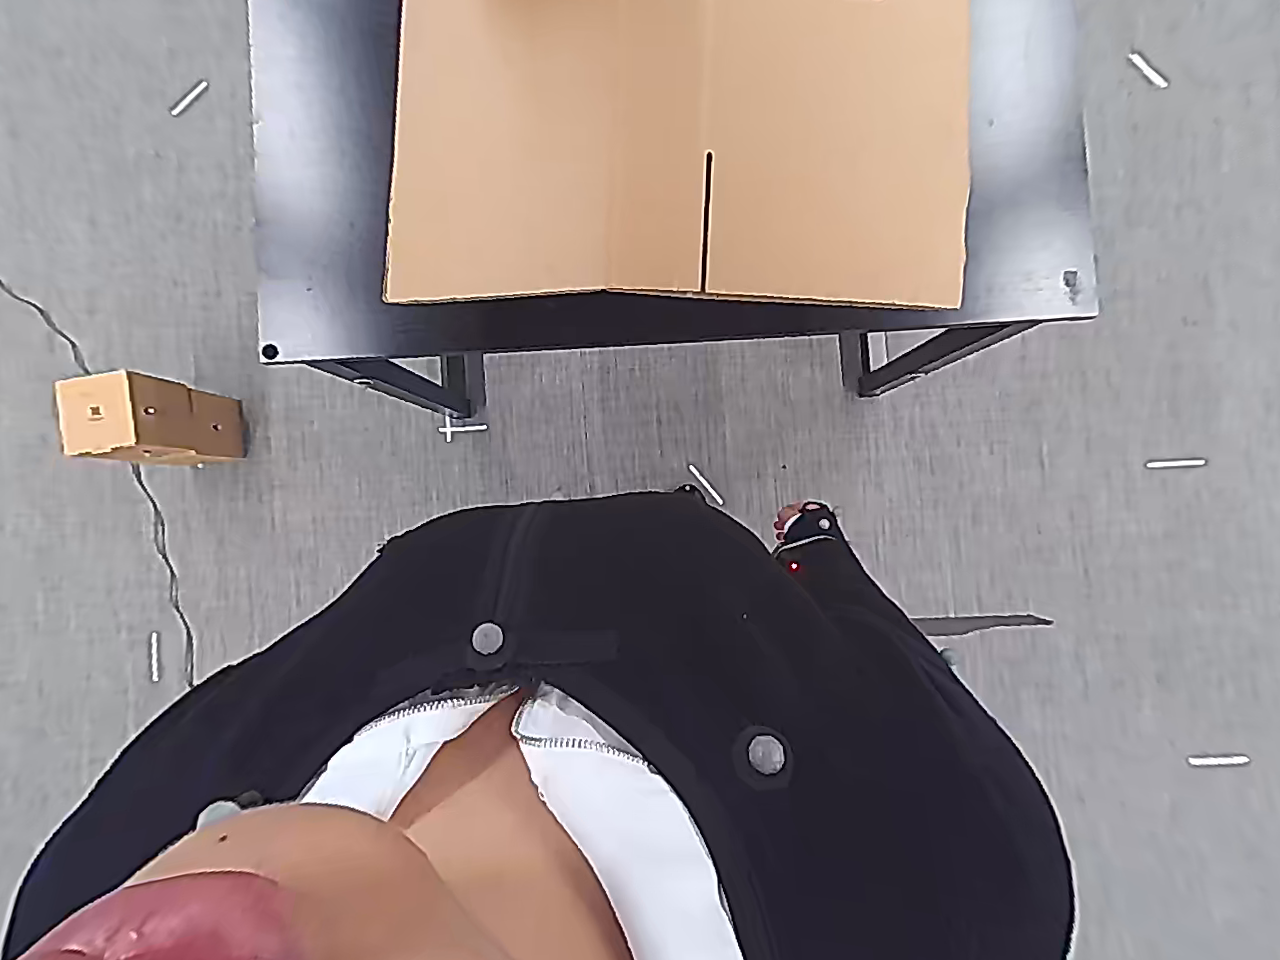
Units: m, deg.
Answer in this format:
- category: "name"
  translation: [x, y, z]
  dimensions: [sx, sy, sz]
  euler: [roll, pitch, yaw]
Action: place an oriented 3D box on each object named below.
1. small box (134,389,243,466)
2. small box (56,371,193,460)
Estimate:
- category: "small box"
  translation: [-1.212, -0.136, 1.453]
  dimensions: [0.168, 0.176, 0.179]
  euler: [-7, 89, 1]
- category: "small box"
  translation: [-1.217, -0.146, 1.291]
  dimensions: [0.168, 0.176, 0.179]
  euler: [-10, 87, 0]
